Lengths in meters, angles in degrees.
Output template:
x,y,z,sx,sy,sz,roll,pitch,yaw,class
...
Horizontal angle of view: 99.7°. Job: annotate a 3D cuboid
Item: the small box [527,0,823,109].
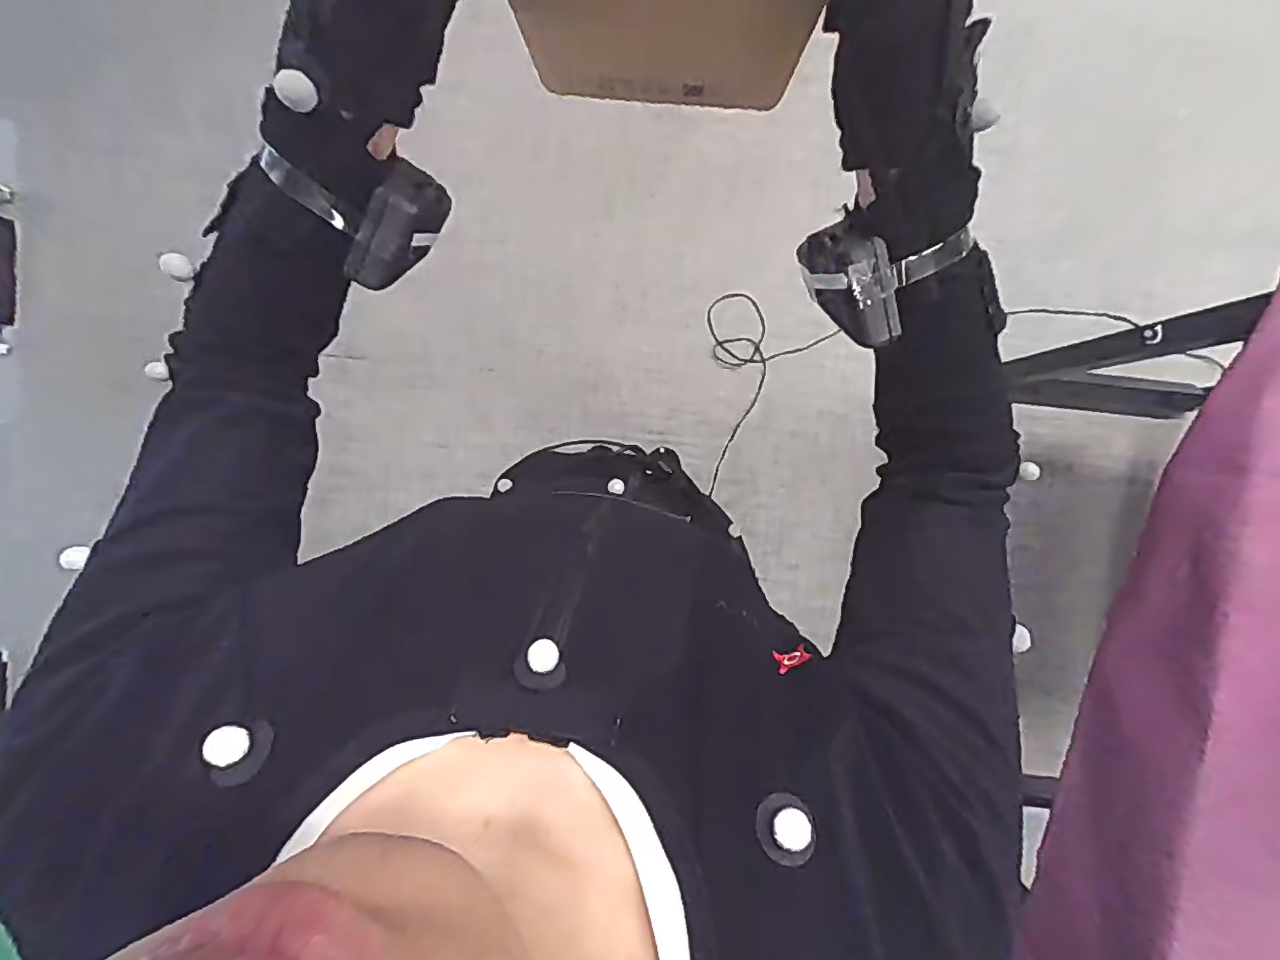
x,y,z,sx,sy,sz,roll,pitch,yaw,class
0.021,-0.337,0.282,0.168,0.176,0.179,6,100,1,small box
